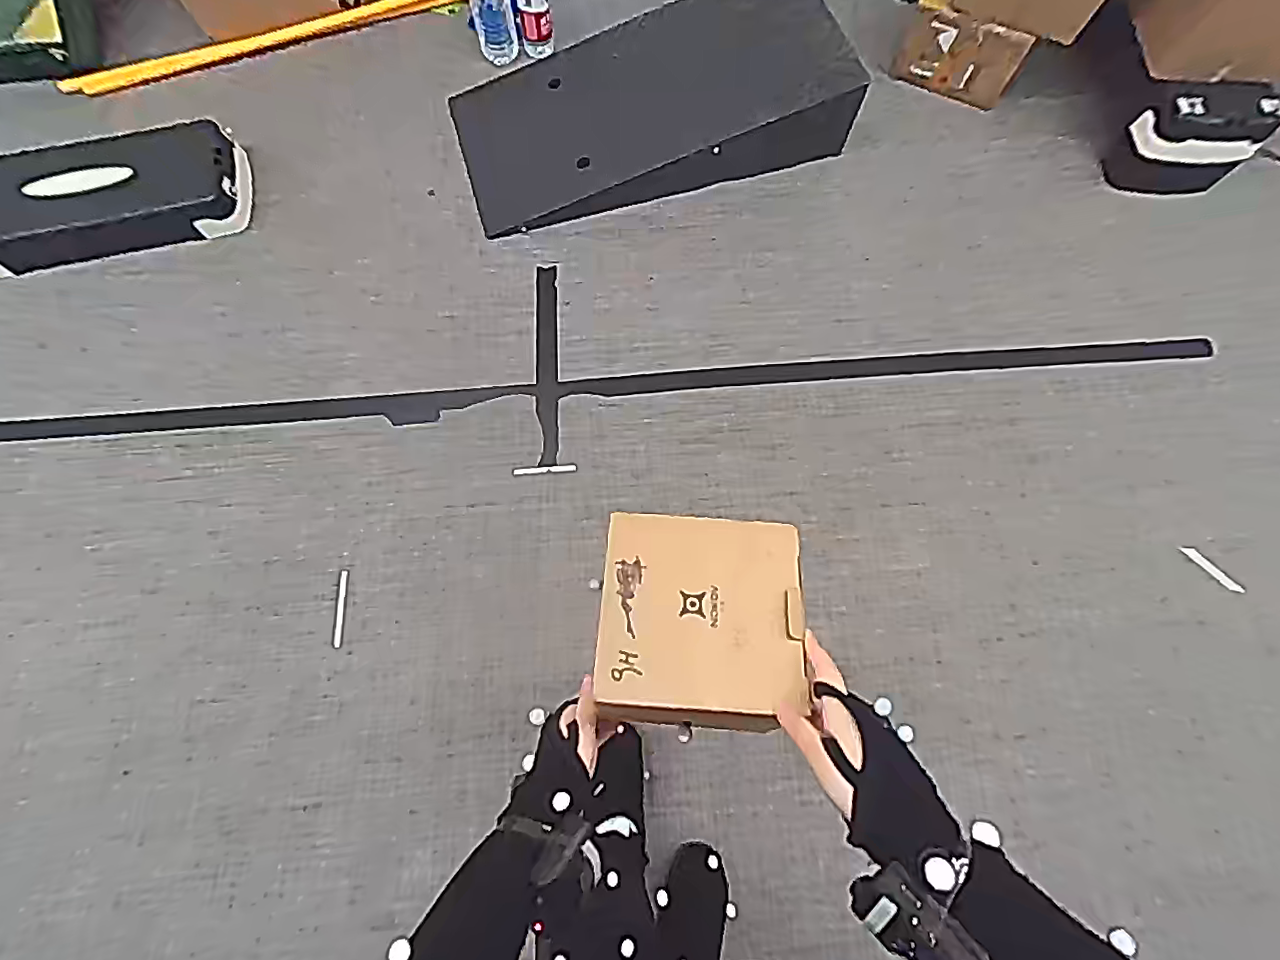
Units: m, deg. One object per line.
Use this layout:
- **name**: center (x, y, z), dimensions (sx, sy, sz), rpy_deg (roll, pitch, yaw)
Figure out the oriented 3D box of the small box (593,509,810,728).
- **small box**: center (0.052, 0.144, 0.533), dimensions (0.179, 0.176, 0.168), rpy_deg (5, 61, 0)
